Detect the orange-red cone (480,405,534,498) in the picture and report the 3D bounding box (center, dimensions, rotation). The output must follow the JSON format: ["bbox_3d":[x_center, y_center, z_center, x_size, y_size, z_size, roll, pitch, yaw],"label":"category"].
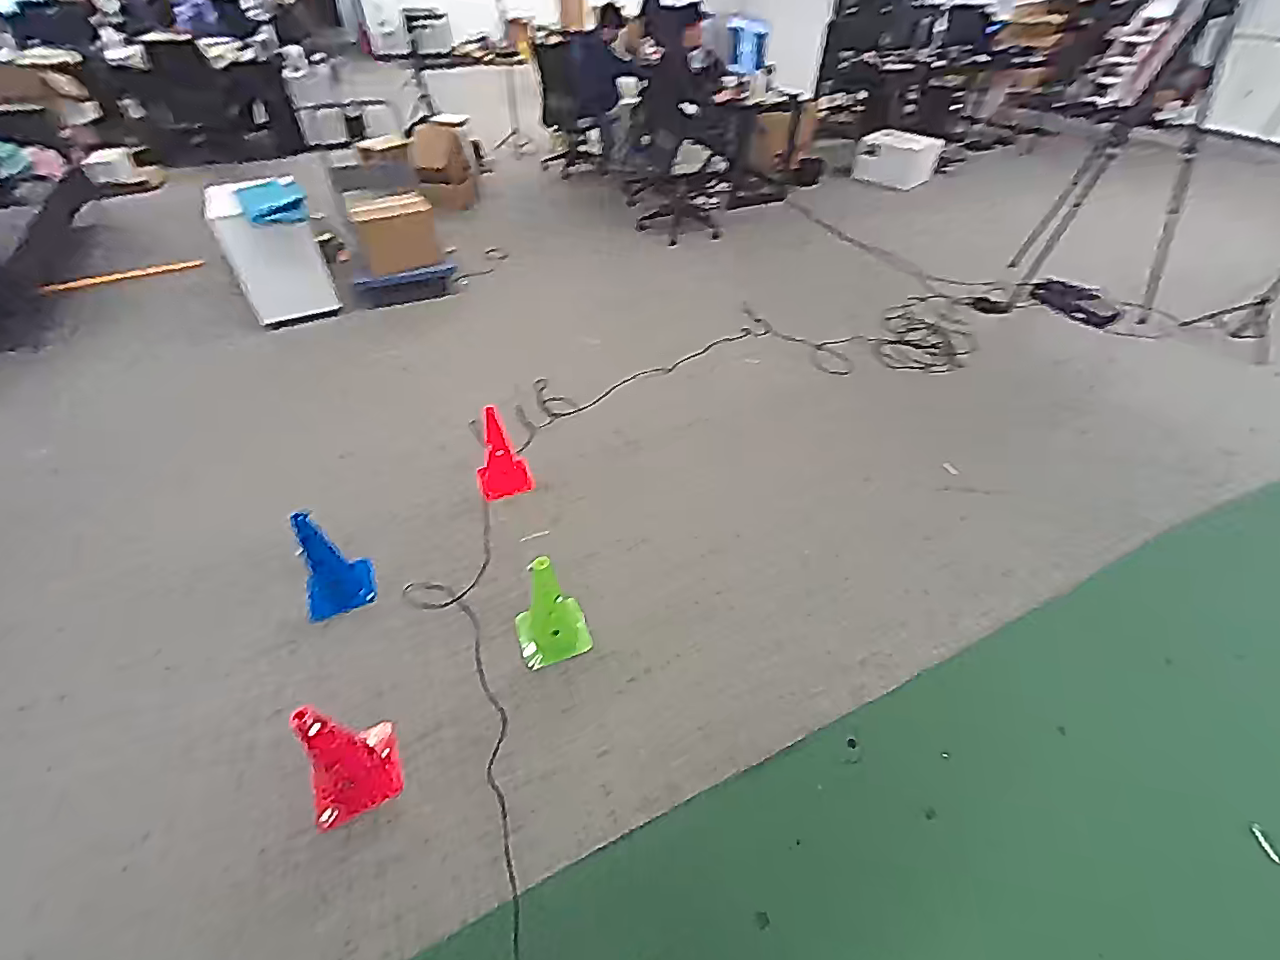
[{"bbox_3d":[-0.536,-0.133,2.053,0.198,0.360,0.199,-15,48,-15],"label":"orange-red cone"}]

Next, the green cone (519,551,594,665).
[{"bbox_3d":[-0.260,0.339,1.566,0.200,0.368,0.202,-16,46,-17],"label":"green cone"}]
